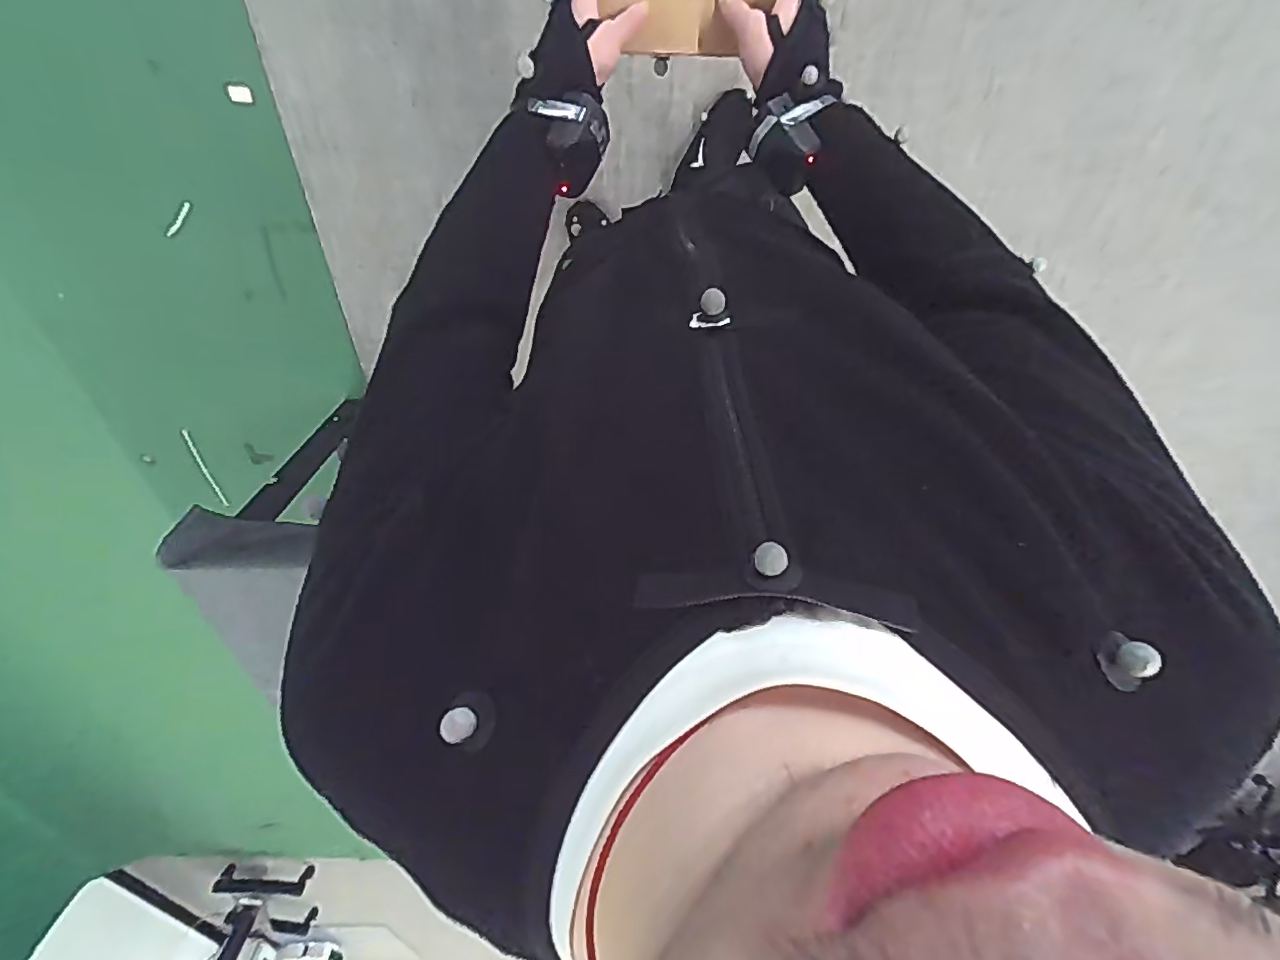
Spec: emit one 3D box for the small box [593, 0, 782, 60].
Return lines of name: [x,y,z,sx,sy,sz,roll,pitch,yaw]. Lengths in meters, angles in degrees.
small box: [0.042,-0.502,0.495,0.168,0.176,0.179,2,128,-3]
